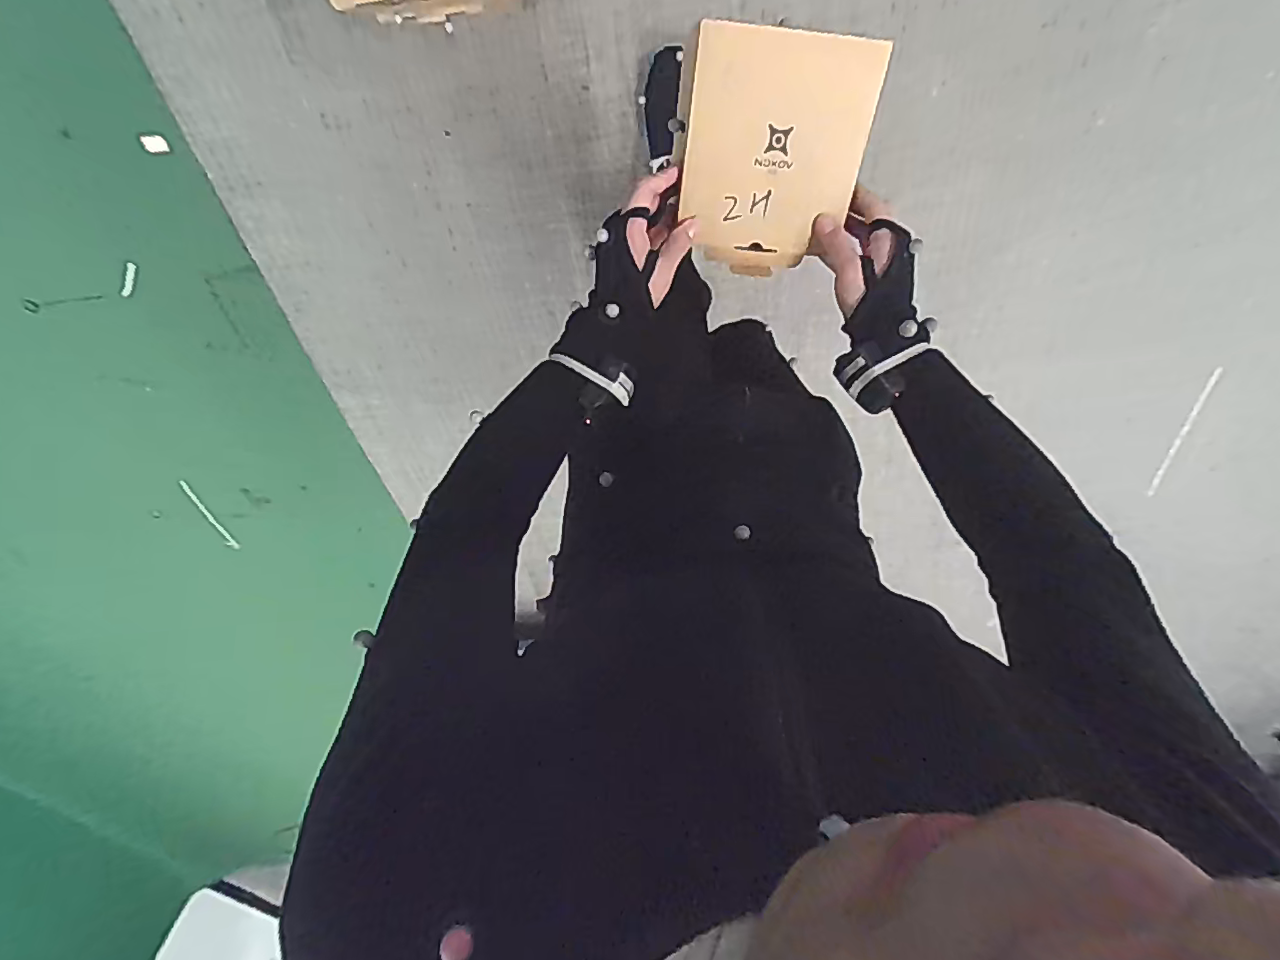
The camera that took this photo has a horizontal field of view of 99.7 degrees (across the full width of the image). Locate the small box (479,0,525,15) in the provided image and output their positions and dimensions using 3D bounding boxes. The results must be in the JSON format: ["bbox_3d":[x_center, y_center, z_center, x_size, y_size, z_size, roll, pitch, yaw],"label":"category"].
[{"bbox_3d":[-0.308,-0.910,0.927,0.179,0.176,0.168,-3,130,1],"label":"small box"}]

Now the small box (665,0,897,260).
[{"bbox_3d":[0.122,-0.353,0.556,0.168,0.176,0.179,11,126,-5],"label":"small box"}]

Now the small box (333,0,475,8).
[{"bbox_3d":[-0.303,-0.706,0.670,0.168,0.176,0.179,-4,129,3],"label":"small box"}]

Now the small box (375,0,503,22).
[{"bbox_3d":[-0.312,-0.803,0.803,0.168,0.176,0.179,-3,130,2],"label":"small box"}]
